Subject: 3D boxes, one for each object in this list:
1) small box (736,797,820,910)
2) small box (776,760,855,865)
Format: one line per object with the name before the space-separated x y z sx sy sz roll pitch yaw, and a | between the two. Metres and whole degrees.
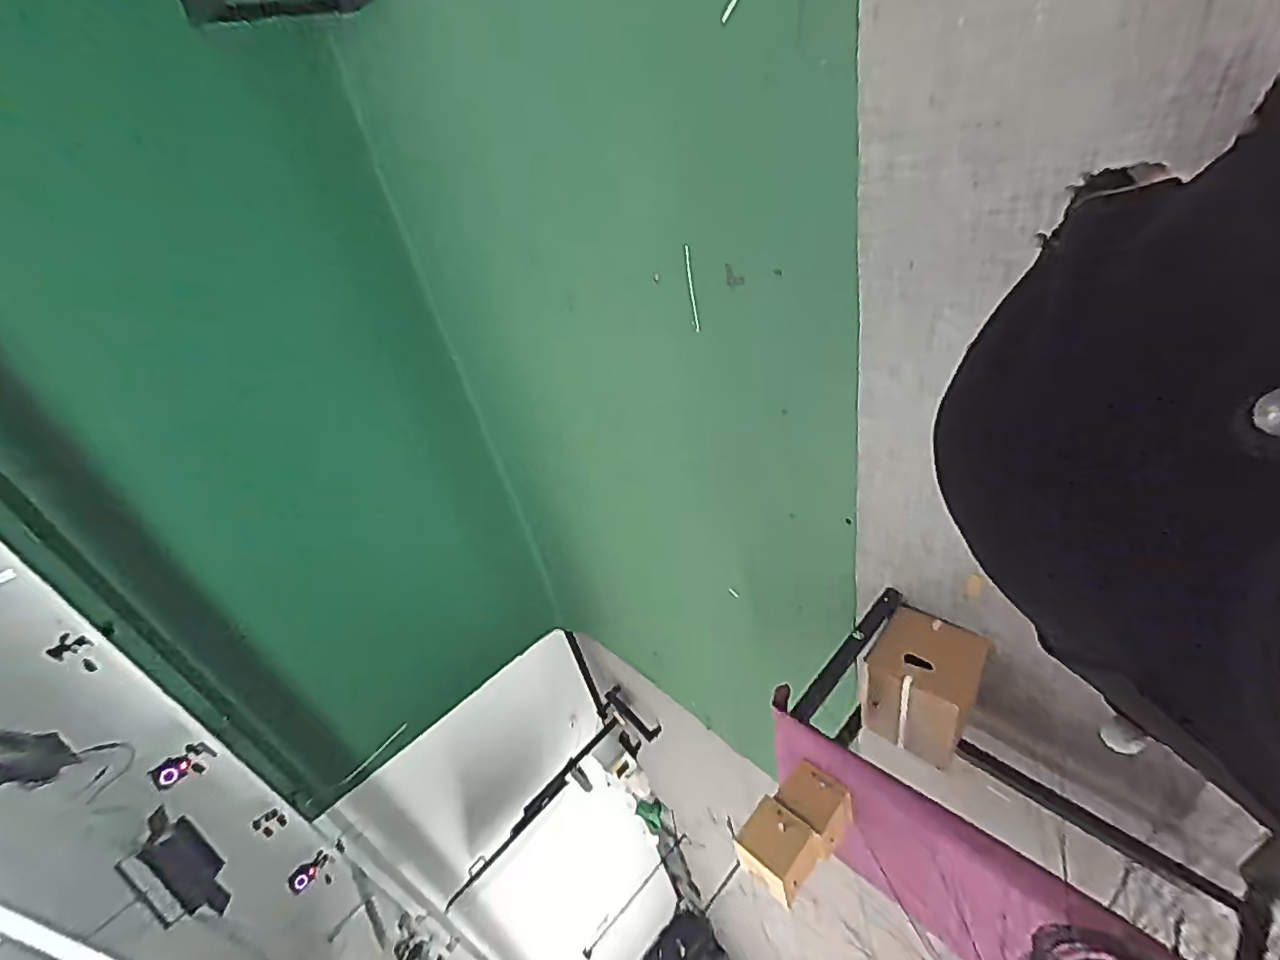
small box | 0.403 1.069 1.556 0.168 0.176 0.179 18 135 44
small box | 0.532 0.999 1.632 0.168 0.176 0.179 19 136 44
